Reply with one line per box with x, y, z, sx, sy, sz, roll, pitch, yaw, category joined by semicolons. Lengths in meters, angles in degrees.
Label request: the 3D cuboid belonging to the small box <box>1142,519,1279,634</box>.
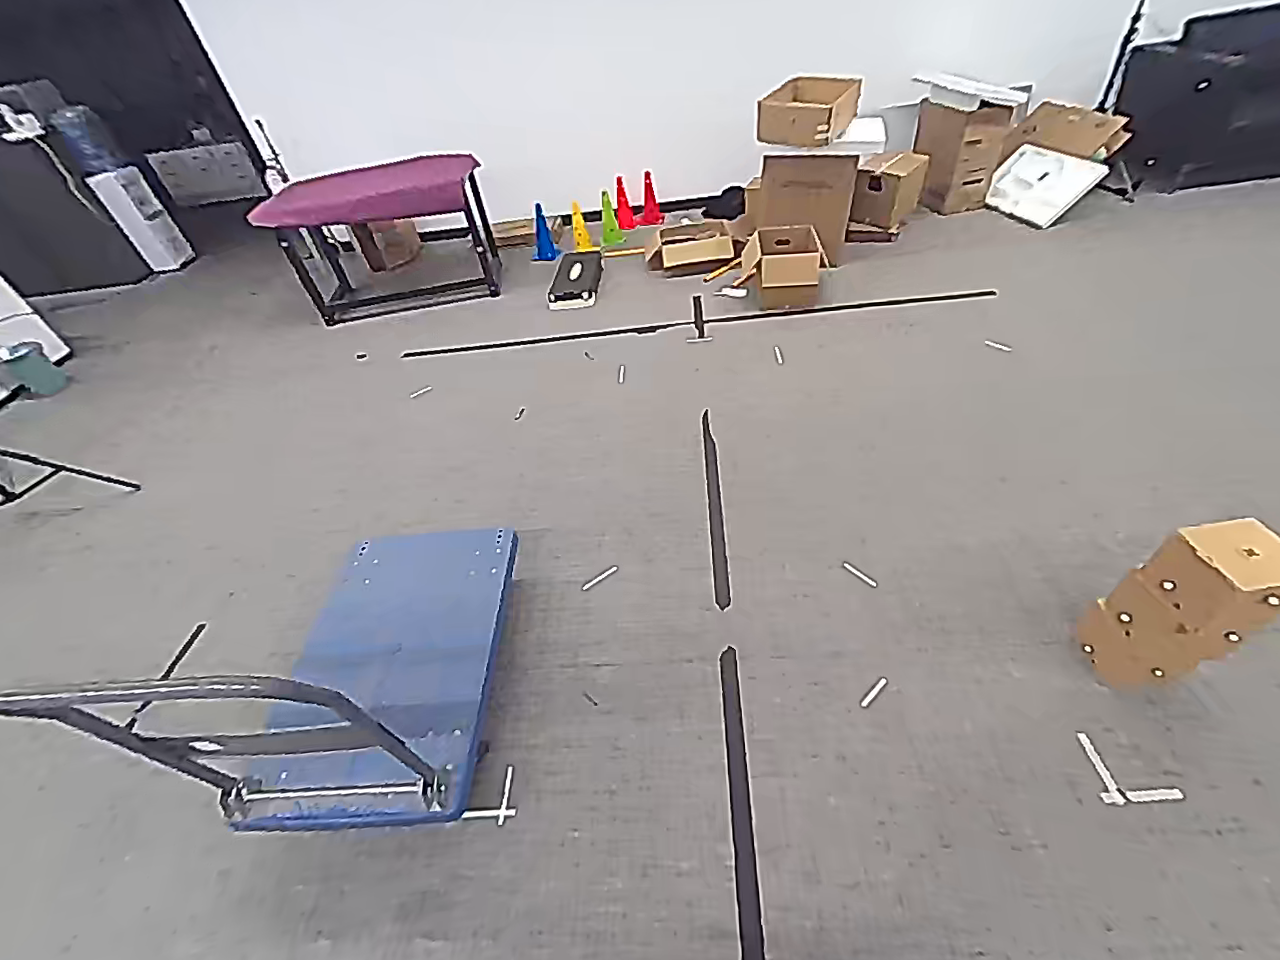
1.260;0.210;1.165;0.179;0.176;0.168;-10;43;1;small box

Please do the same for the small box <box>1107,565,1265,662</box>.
1.280;0.318;1.286;0.179;0.176;0.168;-2;43;9;small box
